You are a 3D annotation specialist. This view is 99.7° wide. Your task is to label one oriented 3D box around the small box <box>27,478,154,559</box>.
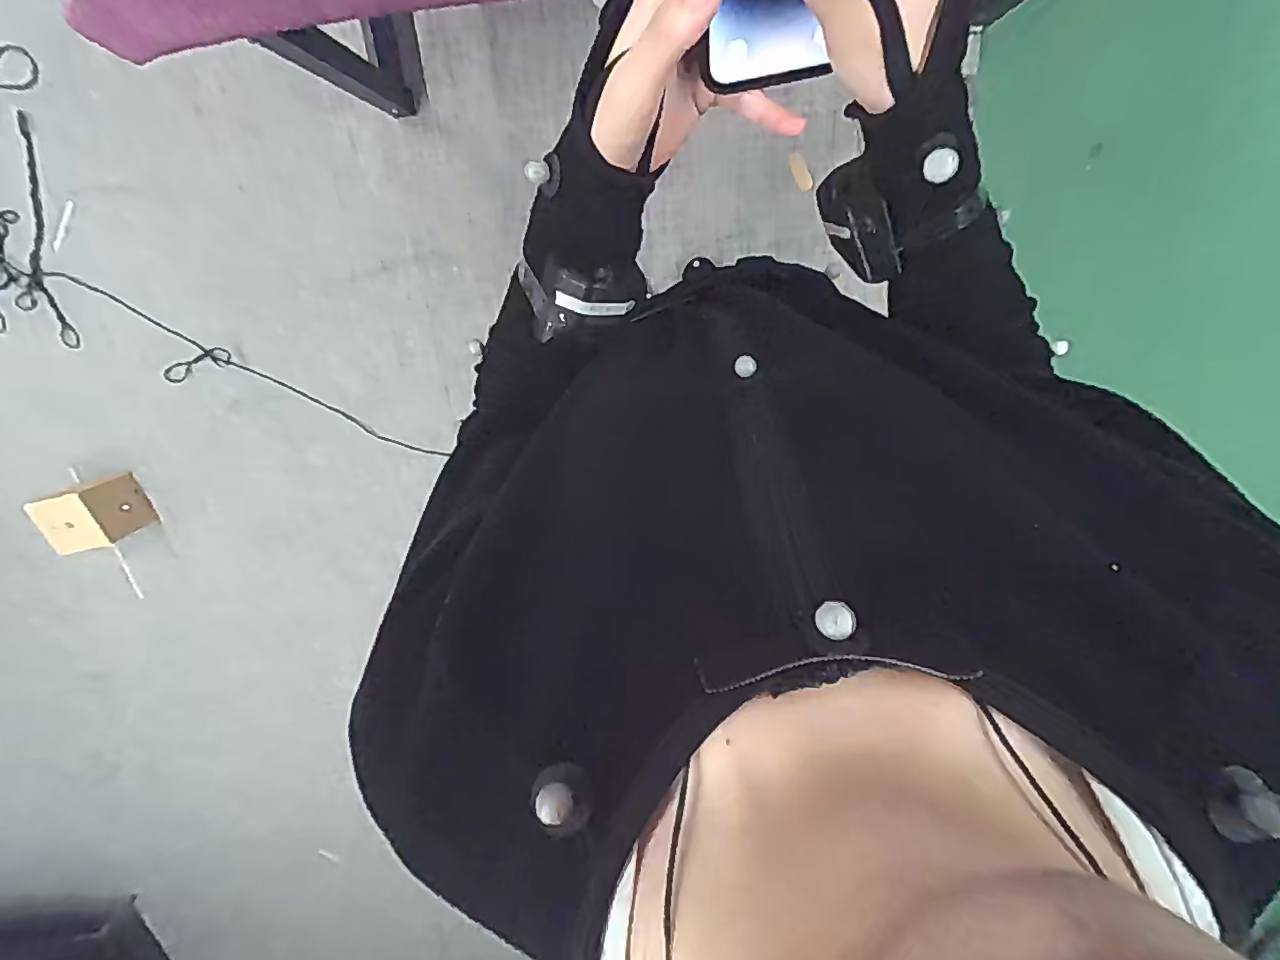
[{"bbox_3d":[-1.578,0.106,1.573,0.179,0.176,0.168,-10,111,6],"label":"small box"}]
